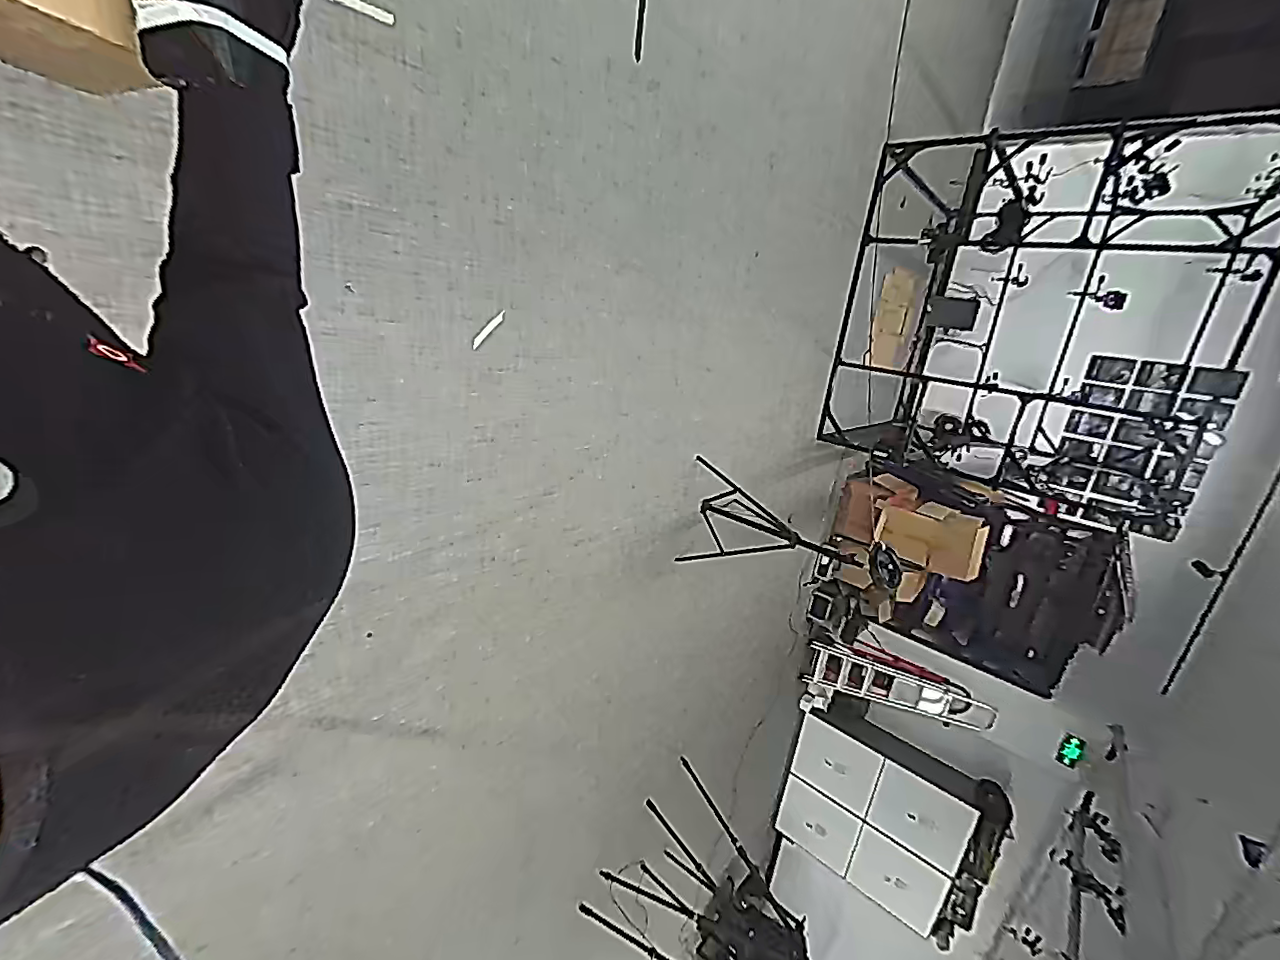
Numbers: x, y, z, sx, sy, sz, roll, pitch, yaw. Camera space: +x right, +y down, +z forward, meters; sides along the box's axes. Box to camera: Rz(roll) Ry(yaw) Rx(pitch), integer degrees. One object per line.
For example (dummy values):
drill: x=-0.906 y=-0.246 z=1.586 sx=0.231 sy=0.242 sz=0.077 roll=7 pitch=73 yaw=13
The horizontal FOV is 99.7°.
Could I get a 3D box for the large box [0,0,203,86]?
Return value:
large box: x=-0.516 y=-0.475 z=0.271 sx=0.408 sy=0.320 sz=0.320 roll=-6 pitch=115 yaw=-55
